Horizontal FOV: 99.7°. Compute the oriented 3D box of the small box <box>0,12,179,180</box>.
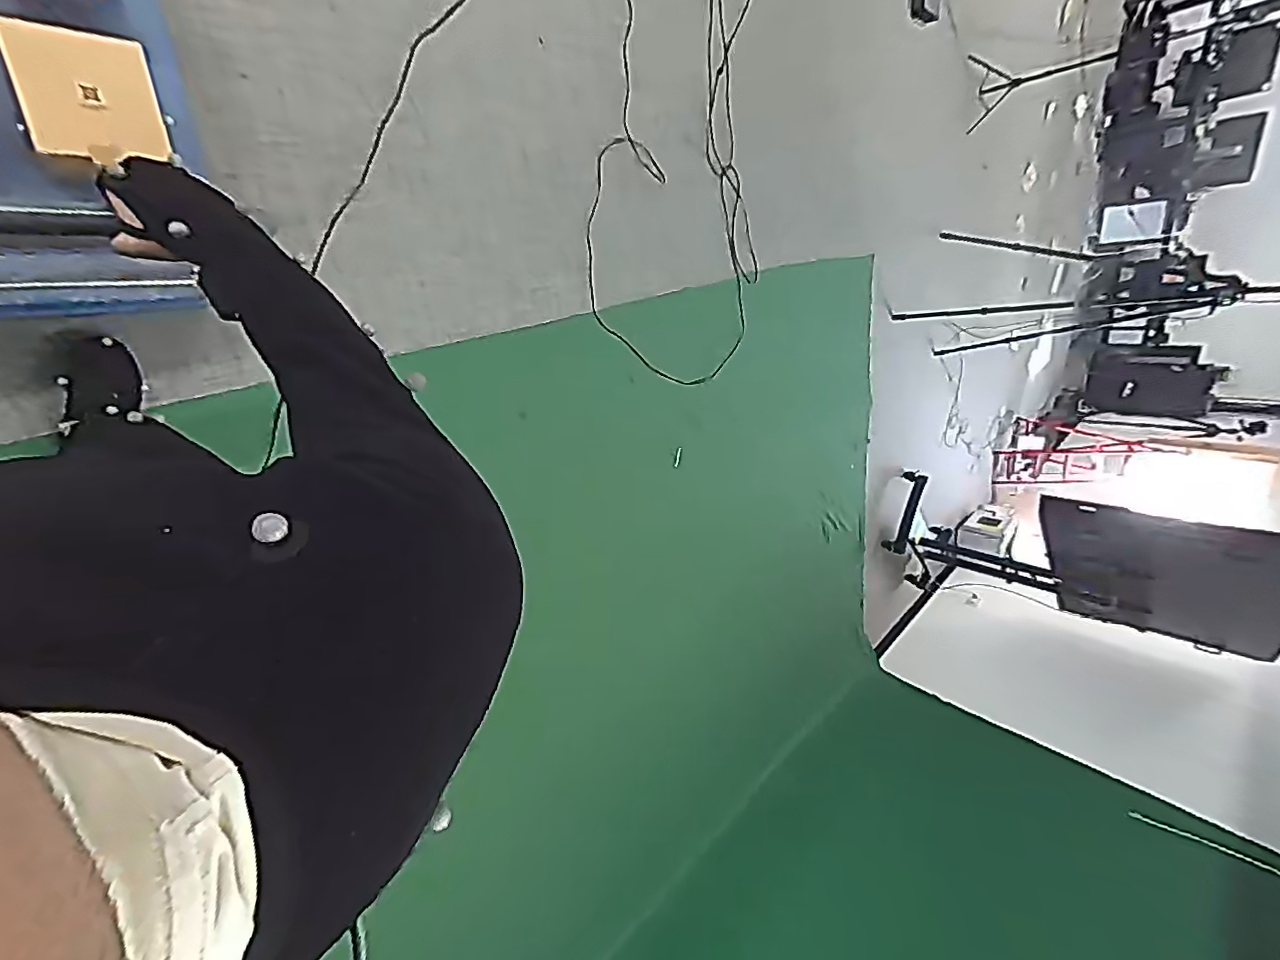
[{"bbox_3d":[-0.901,-0.616,0.894,0.168,0.176,0.179,-20,115,-39],"label":"small box"}]
